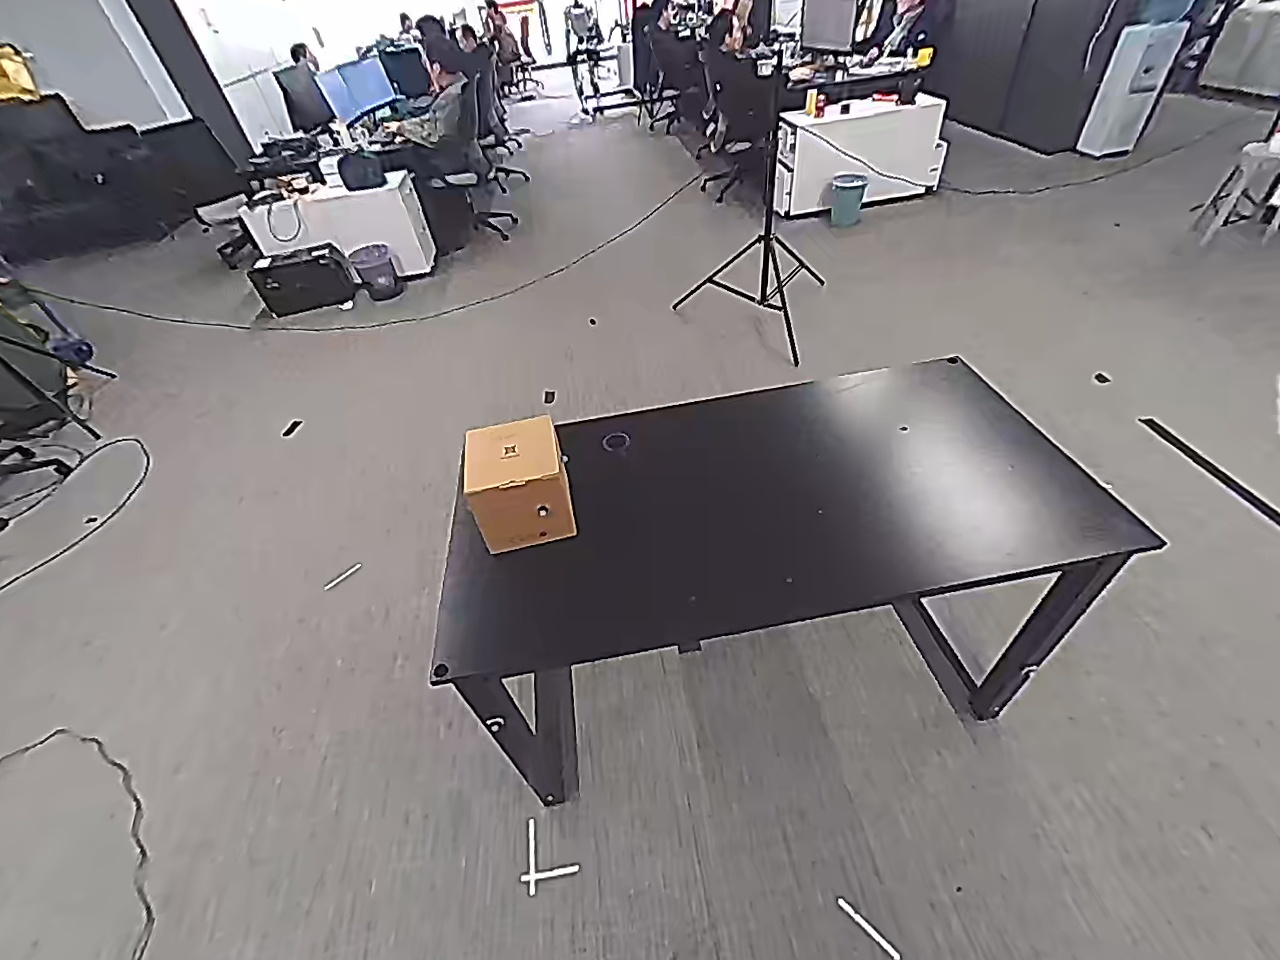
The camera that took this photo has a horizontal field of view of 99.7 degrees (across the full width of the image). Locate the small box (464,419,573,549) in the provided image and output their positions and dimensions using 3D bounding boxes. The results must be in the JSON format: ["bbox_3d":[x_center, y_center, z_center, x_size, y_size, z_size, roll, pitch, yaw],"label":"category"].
[{"bbox_3d":[-0.229,0.013,1.034,0.168,0.176,0.179,-12,43,-6],"label":"small box"}]
